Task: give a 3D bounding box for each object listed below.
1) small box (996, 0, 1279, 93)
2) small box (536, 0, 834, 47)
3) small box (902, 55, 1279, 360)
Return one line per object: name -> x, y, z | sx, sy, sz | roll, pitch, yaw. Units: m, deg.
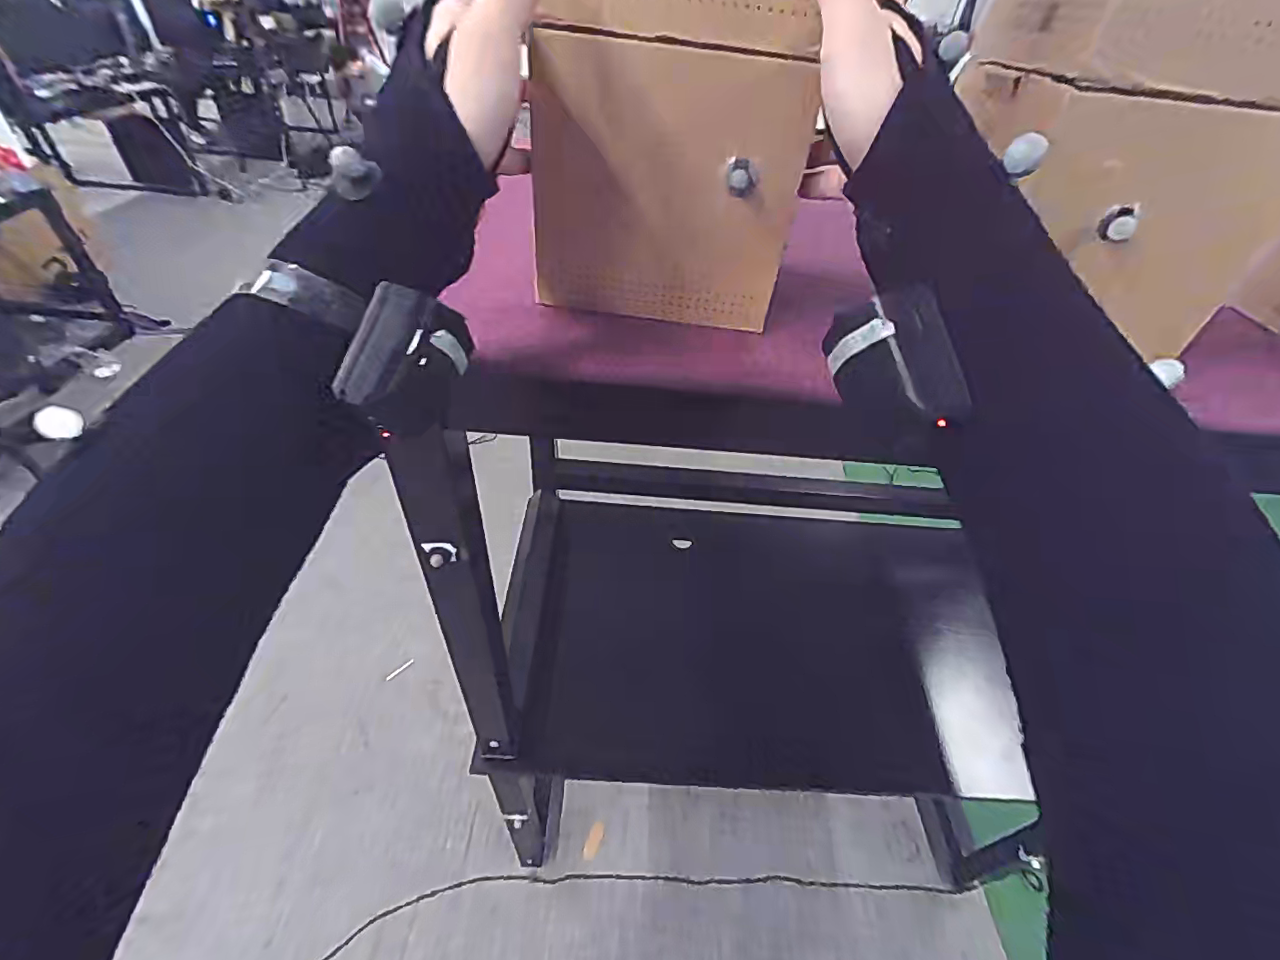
small box -> 0.340, -0.328, 0.304 | 0.179, 0.176, 0.168 | 8, 43, 2
small box -> 0.036, -0.364, 0.309 | 0.179, 0.176, 0.168 | 9, 42, 1
small box -> 0.325, -0.207, 0.413 | 0.179, 0.176, 0.168 | 7, 42, 1
